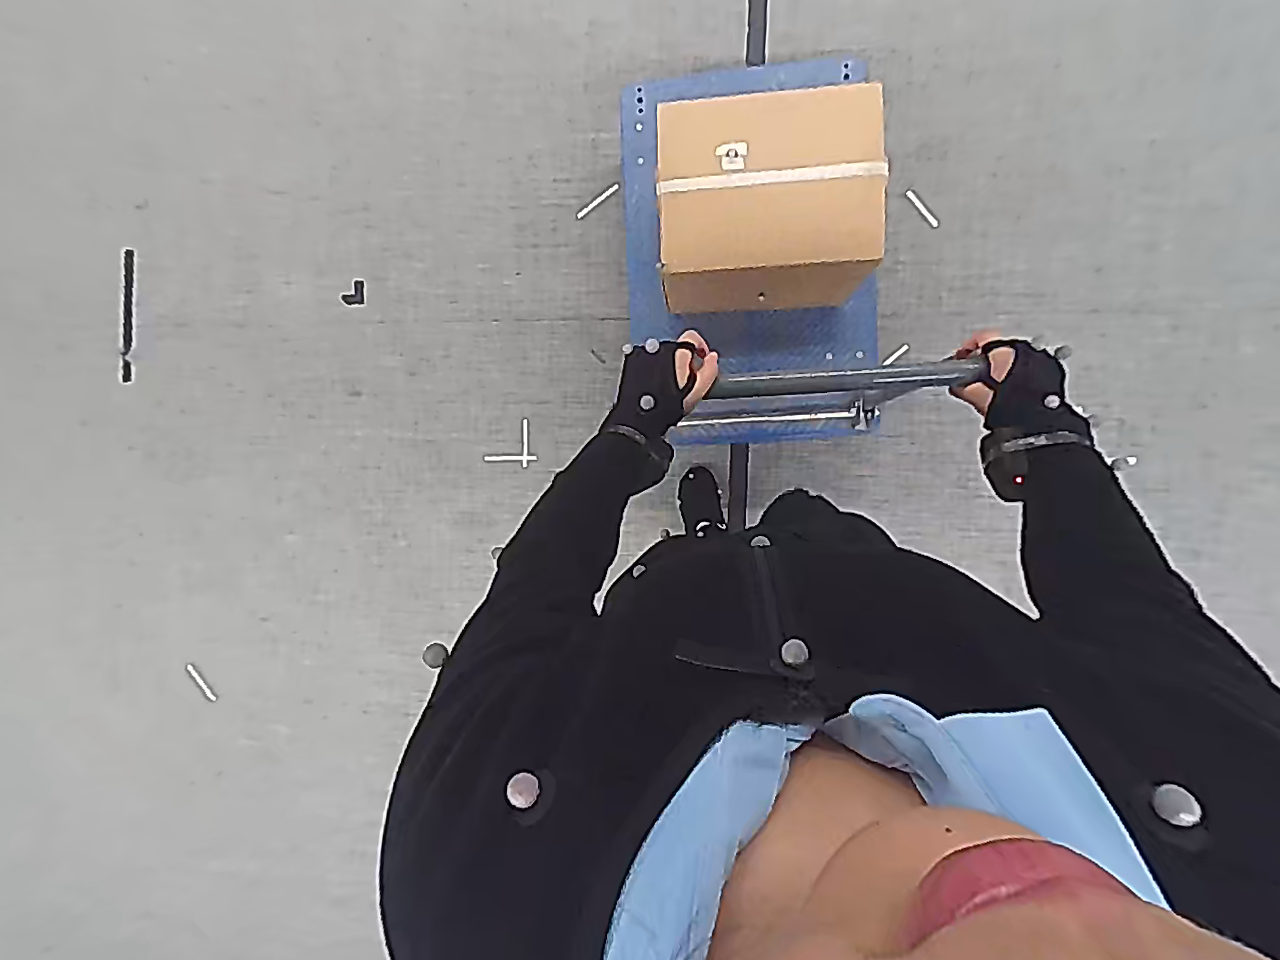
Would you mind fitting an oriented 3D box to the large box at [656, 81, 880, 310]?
[{"bbox_3d":[0.255,-0.567,1.154,0.408,0.320,0.320,-2,91,7],"label":"large box"}]
